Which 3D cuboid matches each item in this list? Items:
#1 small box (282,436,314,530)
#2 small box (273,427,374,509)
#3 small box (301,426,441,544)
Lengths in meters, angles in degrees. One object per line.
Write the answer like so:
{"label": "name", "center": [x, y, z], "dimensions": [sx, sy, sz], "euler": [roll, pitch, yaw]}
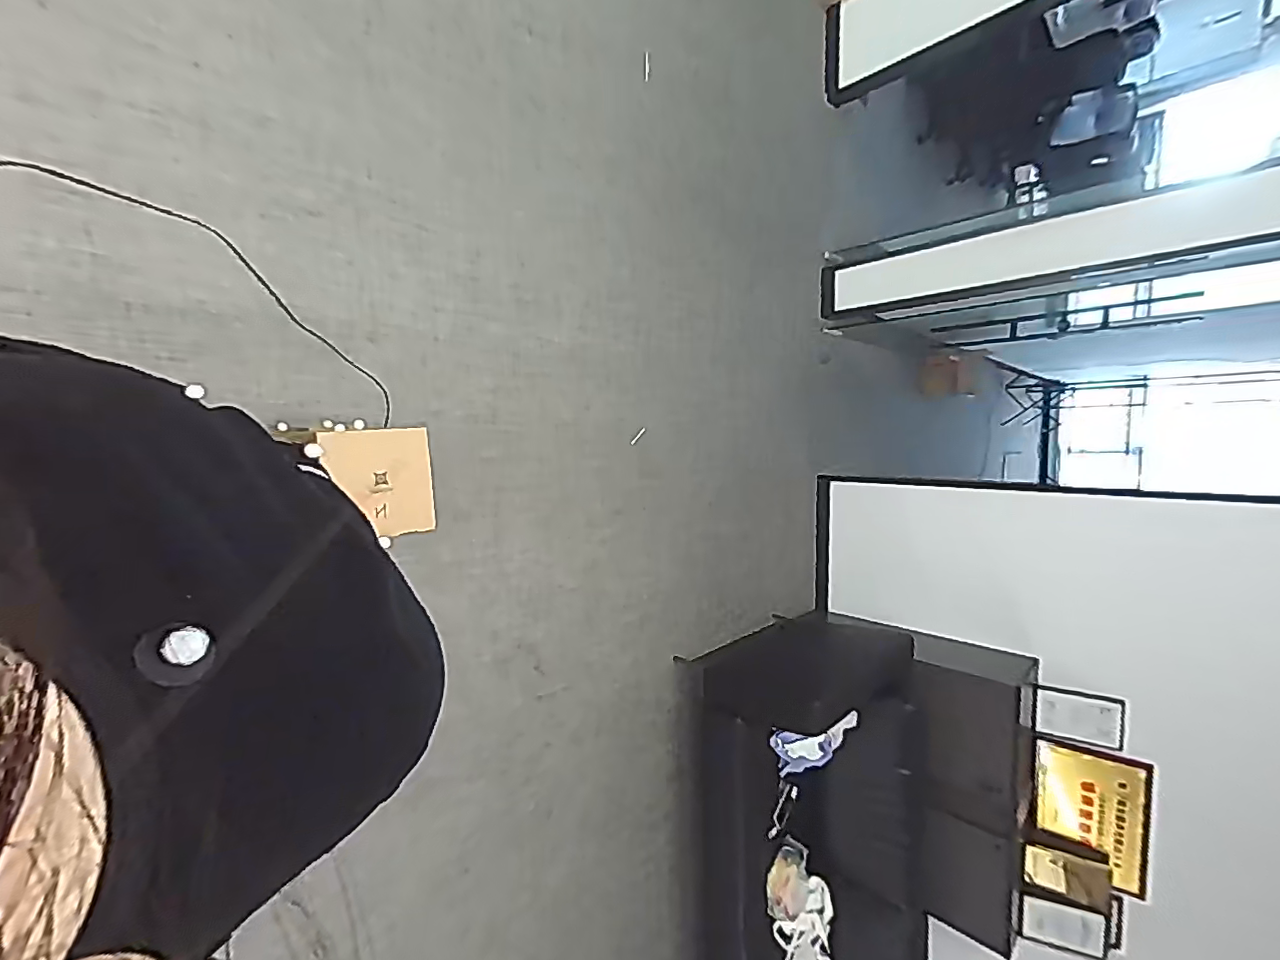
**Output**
{"label": "small box", "center": [-0.567, -0.005, 1.036], "dimensions": [0.179, 0.176, 0.168], "euler": [-10, 100, -44]}
{"label": "small box", "center": [-0.671, -0.022, 1.161], "dimensions": [0.168, 0.176, 0.179], "euler": [-10, 101, -42]}
{"label": "small box", "center": [-0.456, 0.001, 0.914], "dimensions": [0.168, 0.176, 0.179], "euler": [-8, 98, -43]}
